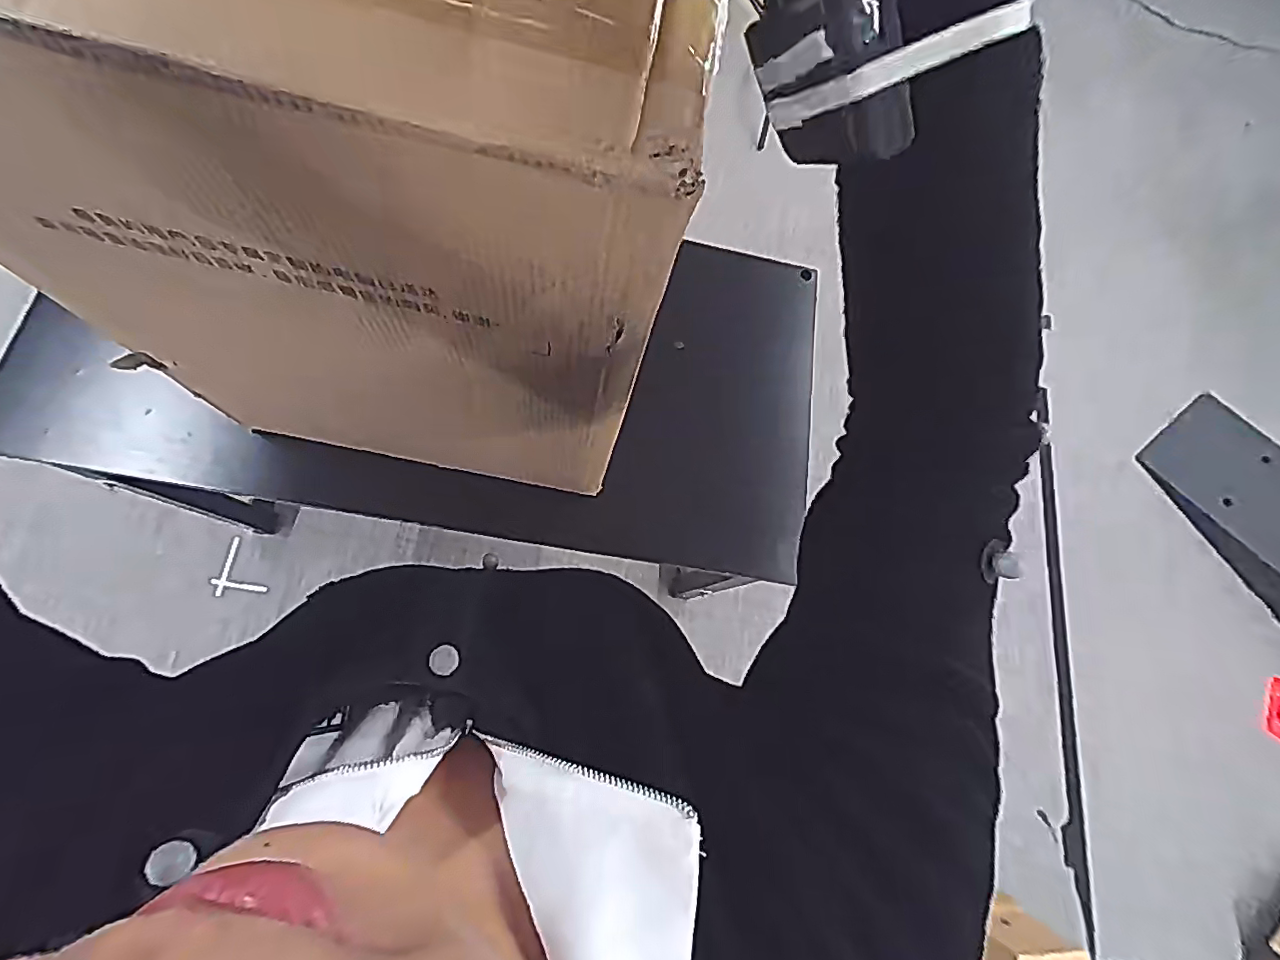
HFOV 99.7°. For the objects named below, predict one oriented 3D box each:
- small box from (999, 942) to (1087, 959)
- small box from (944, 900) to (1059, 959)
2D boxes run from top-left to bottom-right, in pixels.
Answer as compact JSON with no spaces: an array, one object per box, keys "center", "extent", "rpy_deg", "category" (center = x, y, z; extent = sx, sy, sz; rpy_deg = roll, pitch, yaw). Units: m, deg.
[{"center":[0.893,1.117,1.139],"extent":[0.179,0.176,0.168],"rpy_deg":[3,74,-8],"category":"small box"},{"center":[0.871,1.143,1.300],"extent":[0.179,0.176,0.168],"rpy_deg":[4,74,-7],"category":"small box"}]
